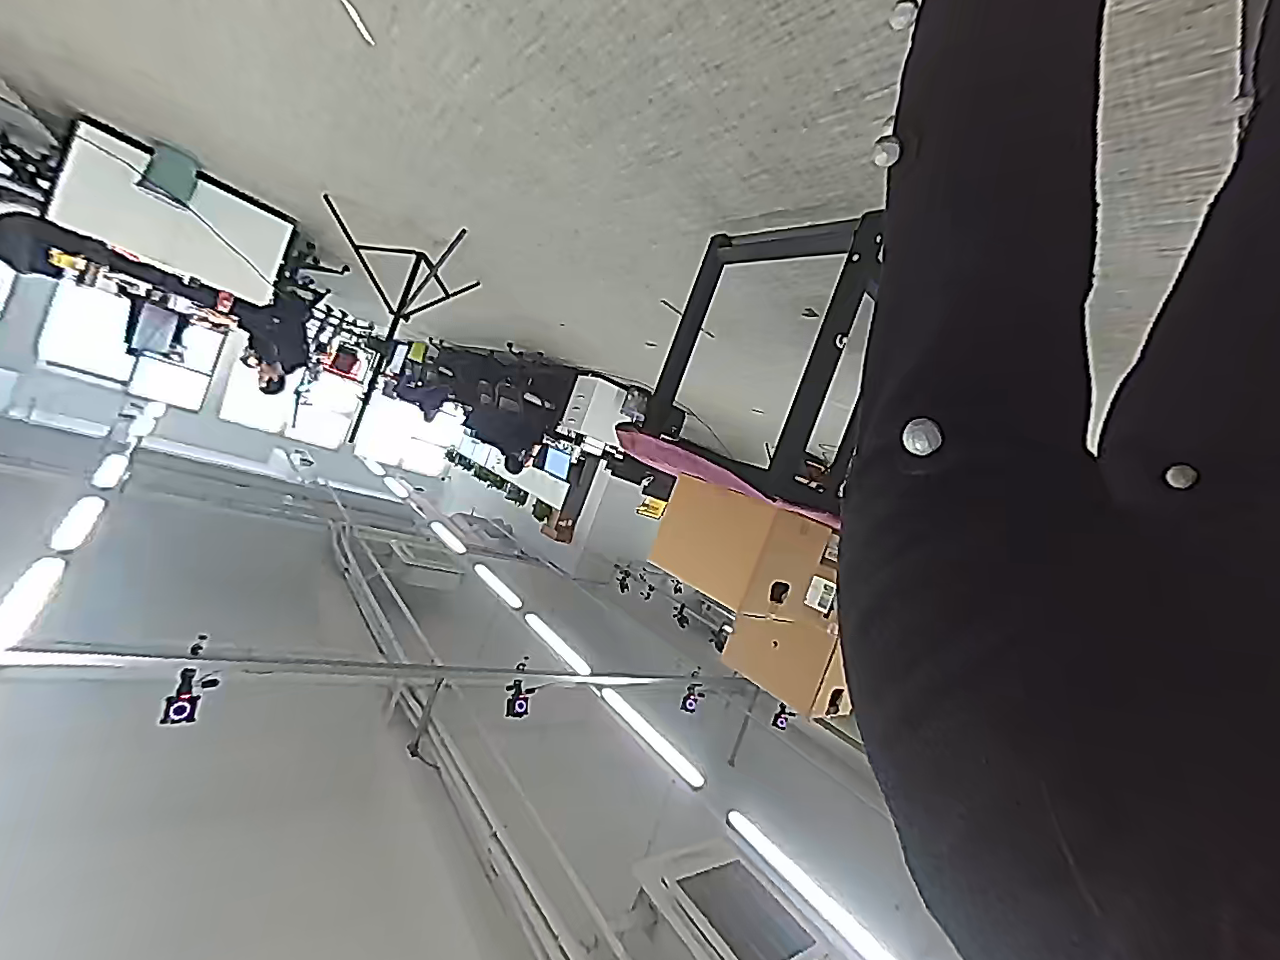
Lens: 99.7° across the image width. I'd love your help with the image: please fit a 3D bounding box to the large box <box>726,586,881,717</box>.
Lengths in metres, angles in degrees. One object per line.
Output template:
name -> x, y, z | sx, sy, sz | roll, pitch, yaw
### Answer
large box -> 0.601, 0.624, 2.010 | 0.320, 0.320, 0.408 | 18, -178, -40
